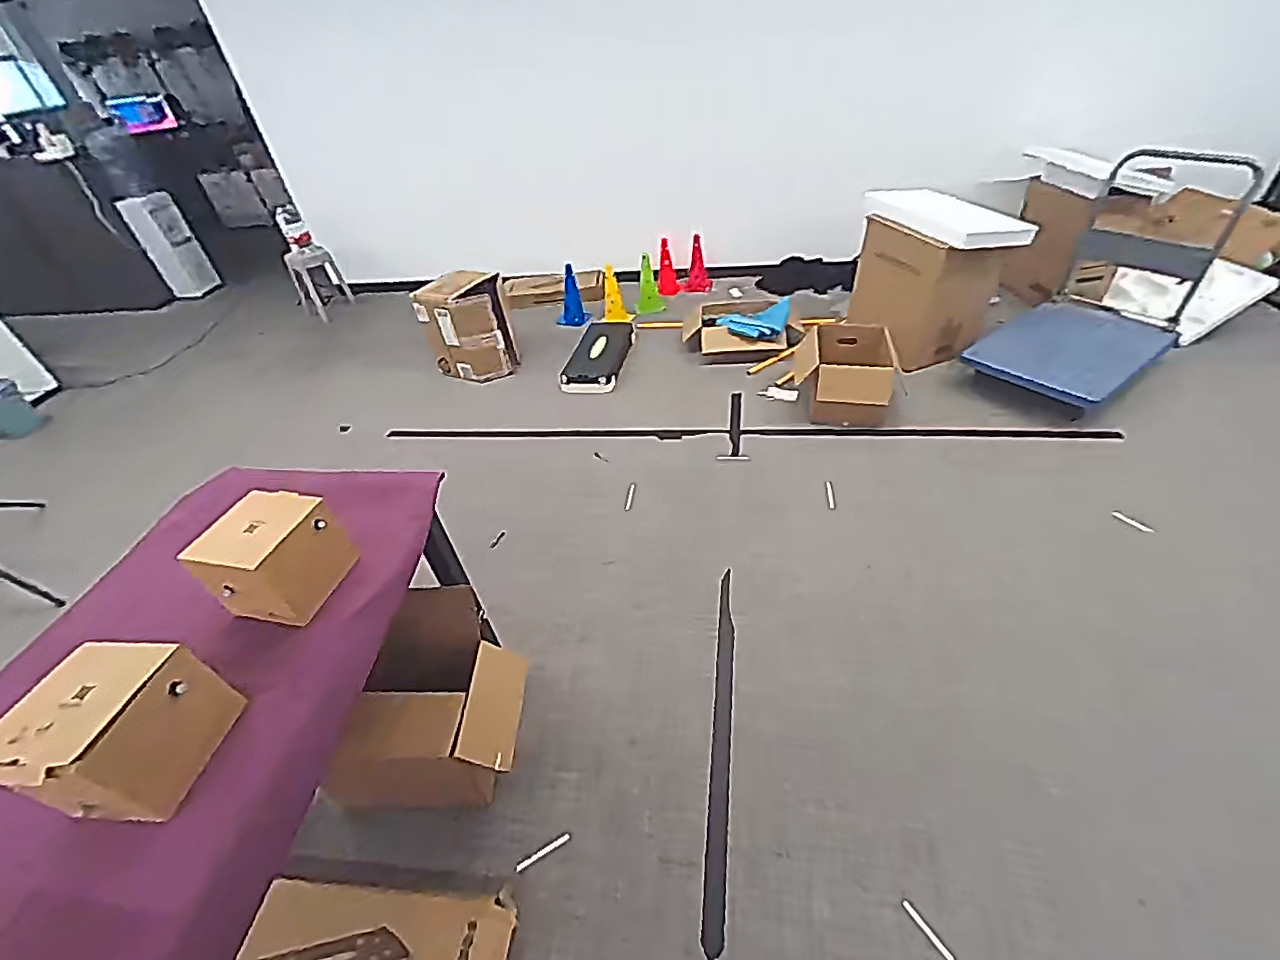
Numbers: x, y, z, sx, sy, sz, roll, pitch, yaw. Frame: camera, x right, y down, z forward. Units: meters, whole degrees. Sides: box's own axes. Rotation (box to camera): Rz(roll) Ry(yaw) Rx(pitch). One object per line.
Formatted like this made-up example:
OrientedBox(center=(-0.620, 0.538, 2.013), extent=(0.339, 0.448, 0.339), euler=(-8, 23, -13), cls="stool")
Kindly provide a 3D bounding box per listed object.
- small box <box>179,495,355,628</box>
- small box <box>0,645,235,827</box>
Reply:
OrientedBox(center=(-0.668, 0.150, 0.997), extent=(0.168, 0.176, 0.179), euler=(4, 41, 13), cls="small box")
OrientedBox(center=(-0.725, 0.356, 0.761), extent=(0.168, 0.176, 0.179), euler=(-2, 40, 10), cls="small box")
